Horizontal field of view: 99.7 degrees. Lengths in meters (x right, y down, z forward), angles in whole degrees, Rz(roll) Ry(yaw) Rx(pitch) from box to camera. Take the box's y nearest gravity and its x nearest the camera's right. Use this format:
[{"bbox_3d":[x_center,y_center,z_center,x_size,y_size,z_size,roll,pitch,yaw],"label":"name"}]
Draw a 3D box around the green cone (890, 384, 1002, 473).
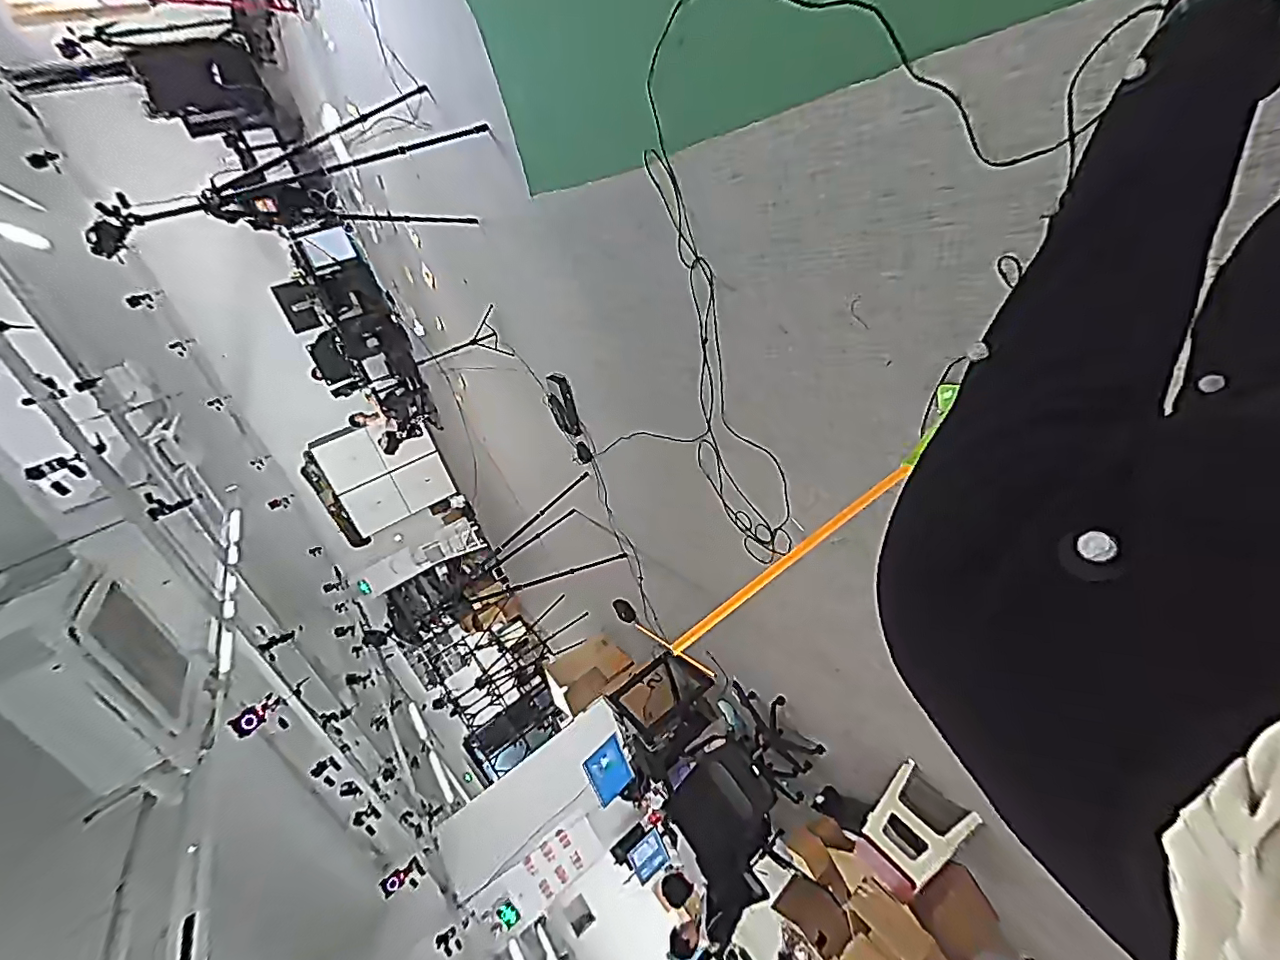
[{"bbox_3d":[0.874,-0.121,1.601,0.202,0.368,0.200,22,136,55],"label":"green cone"}]
